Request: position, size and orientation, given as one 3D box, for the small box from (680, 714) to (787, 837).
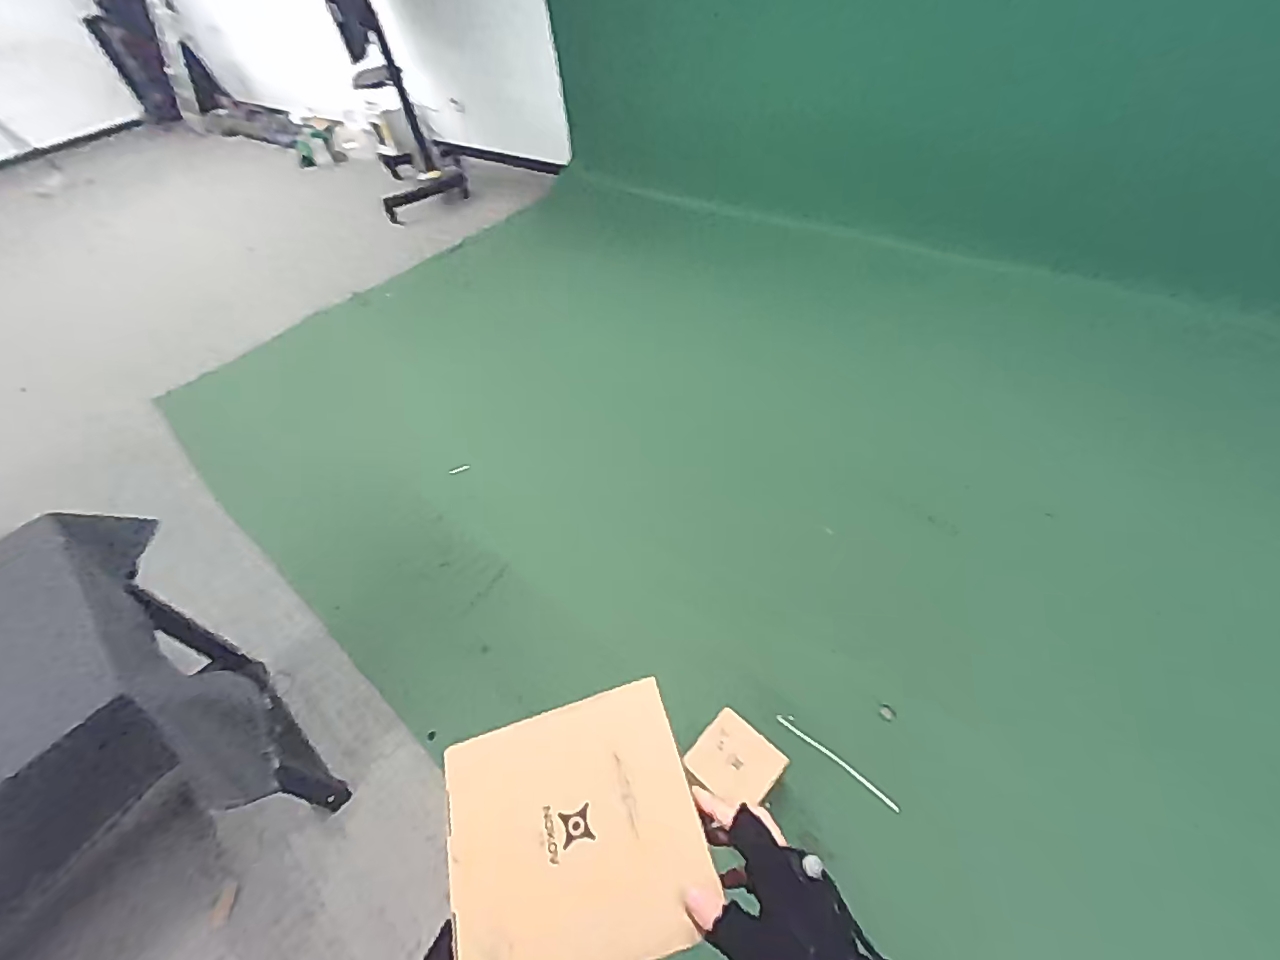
[{"bbox_3d":[0.215,0.684,1.243,0.179,0.176,0.168,33,60,33],"label":"small box"}]
